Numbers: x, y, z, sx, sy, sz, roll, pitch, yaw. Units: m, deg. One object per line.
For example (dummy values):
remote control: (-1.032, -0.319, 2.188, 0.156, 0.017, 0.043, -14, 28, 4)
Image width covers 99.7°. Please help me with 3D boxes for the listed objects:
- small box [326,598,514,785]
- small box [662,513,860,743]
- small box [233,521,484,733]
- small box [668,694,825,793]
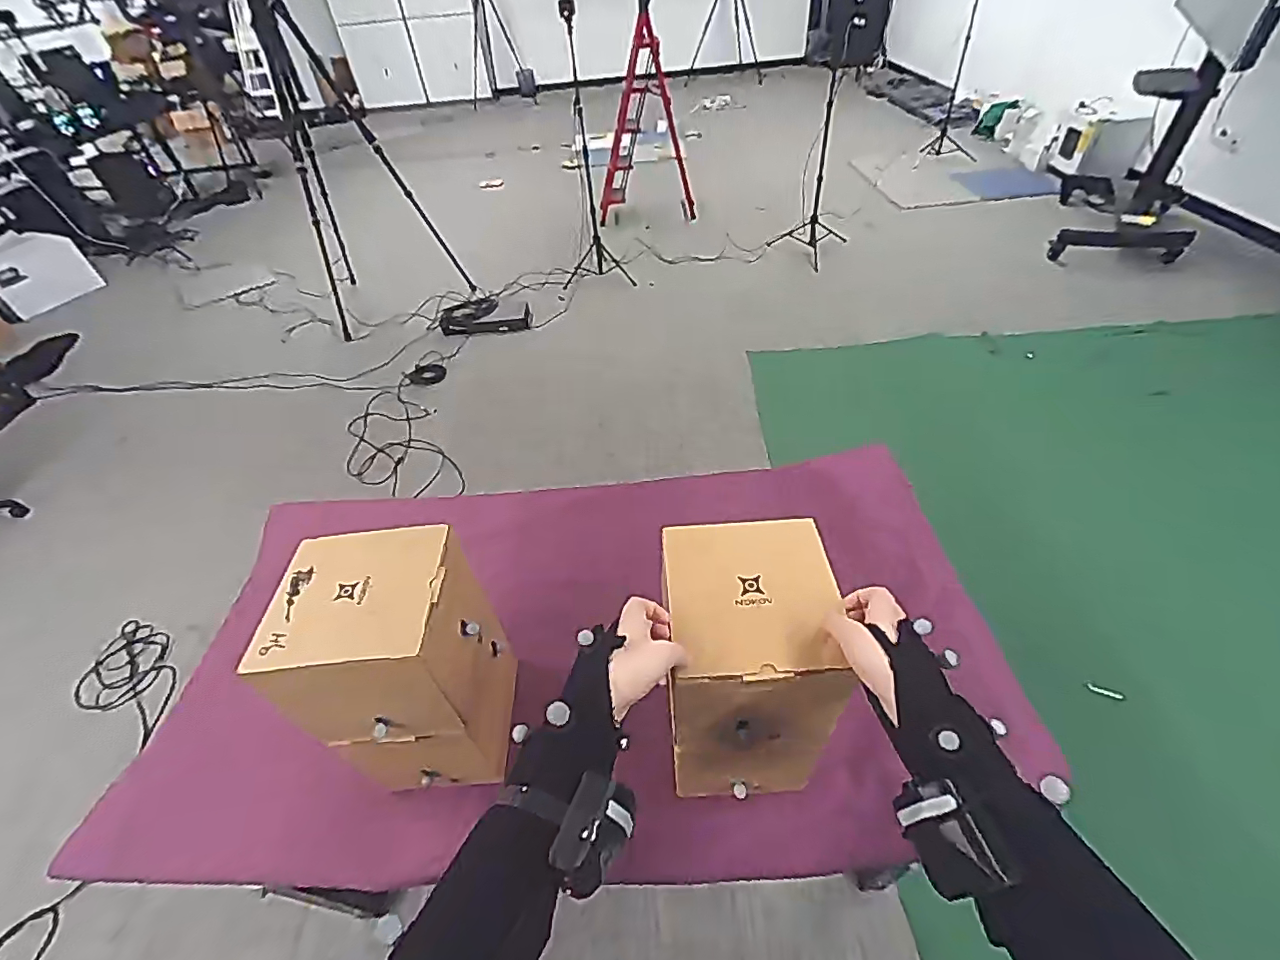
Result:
small box: (-0.274, 0.283, 0.725, 0.168, 0.176, 0.179, -6, 44, 2)
small box: (0.109, 0.157, 0.577, 0.168, 0.176, 0.179, -4, 46, 1)
small box: (-0.289, 0.167, 0.609, 0.179, 0.176, 0.168, -5, 44, 1)
small box: (0.119, 0.275, 0.689, 0.168, 0.176, 0.179, -4, 45, 3)
